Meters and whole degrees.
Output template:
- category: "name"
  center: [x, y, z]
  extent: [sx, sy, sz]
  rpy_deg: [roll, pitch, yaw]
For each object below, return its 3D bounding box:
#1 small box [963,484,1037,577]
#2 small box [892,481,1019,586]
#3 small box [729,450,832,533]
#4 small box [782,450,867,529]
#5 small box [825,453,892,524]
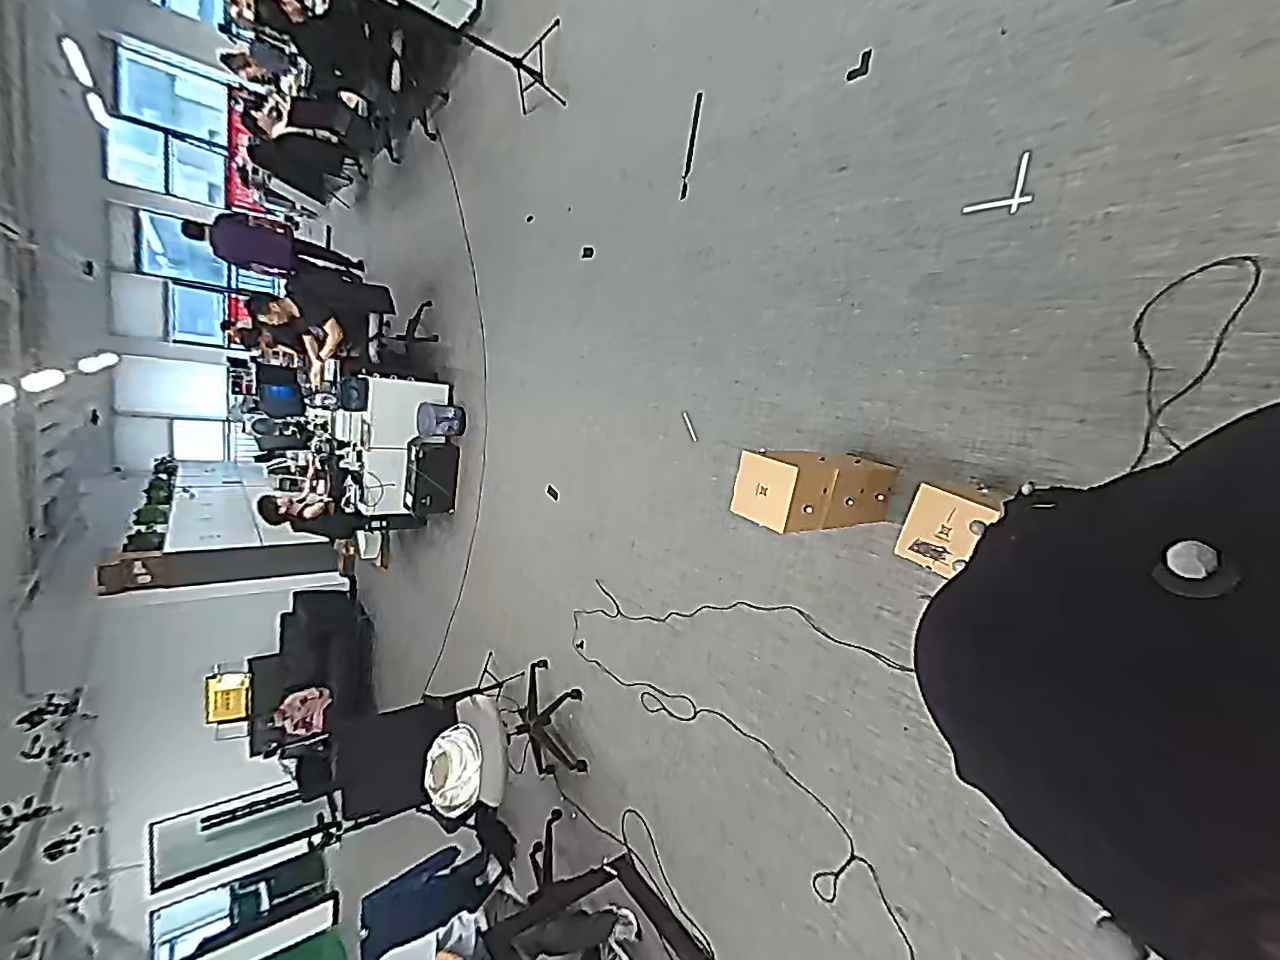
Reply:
- category: "small box"
  center: [0.832, 0.114, 1.318]
  extent: [0.168, 0.176, 0.179]
  rpy_deg: [30, 113, 47]
- category: "small box"
  center: [0.707, 0.112, 1.211]
  extent: [0.168, 0.176, 0.179]
  rpy_deg: [32, 114, 46]
- category: "small box"
  center: [0.359, 0.022, 1.374]
  extent: [0.179, 0.176, 0.168]
  rpy_deg: [25, 110, 48]
- category: "small box"
  center: [0.487, 0.020, 1.475]
  extent: [0.179, 0.176, 0.168]
  rpy_deg: [28, 112, 48]
- category: "small box"
  center: [0.608, 0.017, 1.587]
  extent: [0.179, 0.176, 0.168]
  rpy_deg: [25, 109, 47]
